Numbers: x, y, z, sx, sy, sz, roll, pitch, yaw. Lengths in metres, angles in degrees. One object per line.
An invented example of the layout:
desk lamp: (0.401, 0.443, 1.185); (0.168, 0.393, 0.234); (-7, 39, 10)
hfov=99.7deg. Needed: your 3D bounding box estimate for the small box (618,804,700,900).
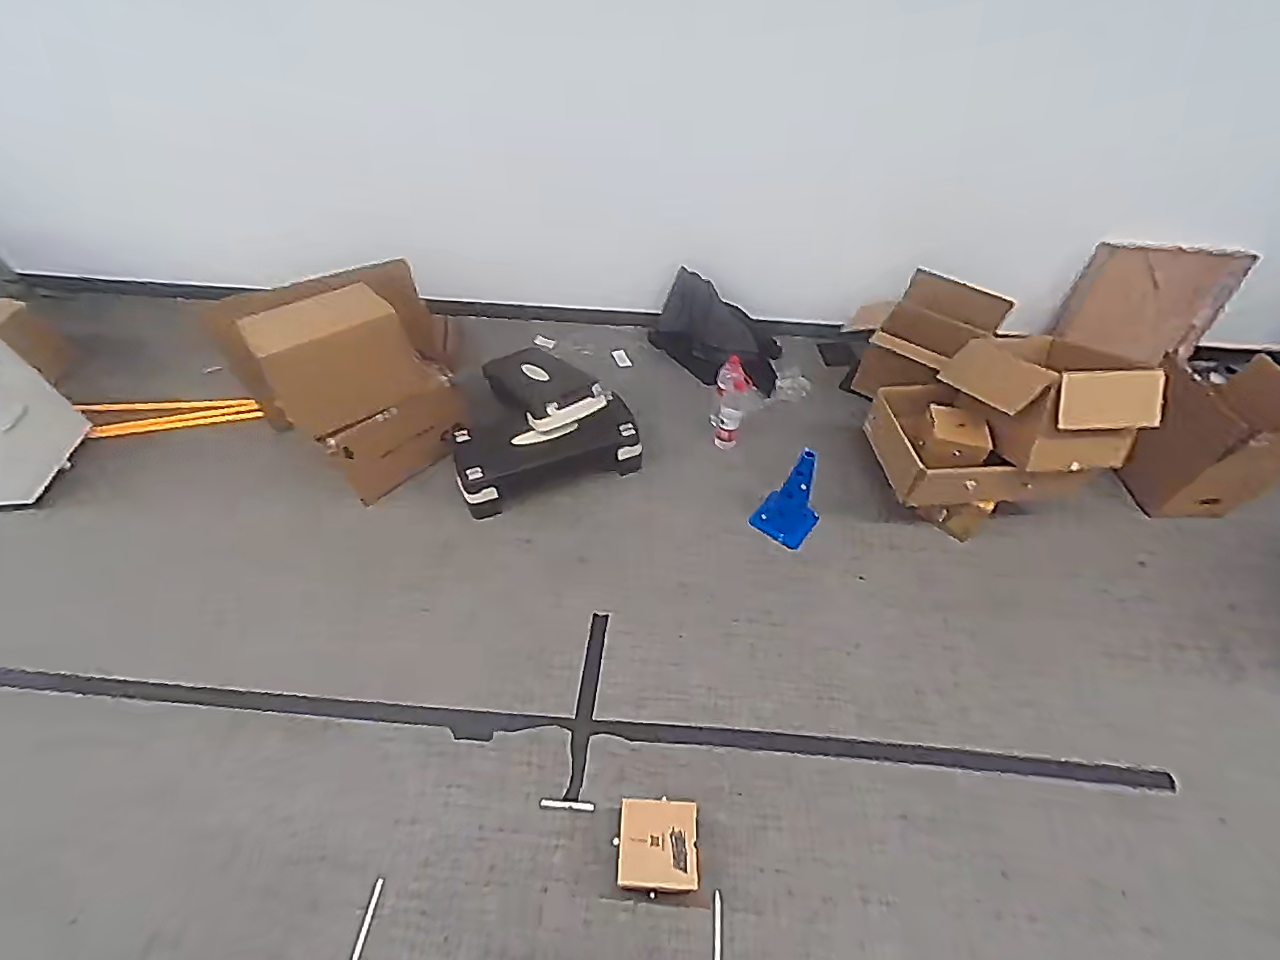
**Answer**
small box: (0.044, 0.872, 1.264); (0.179, 0.176, 0.168); (3, 50, 2)
